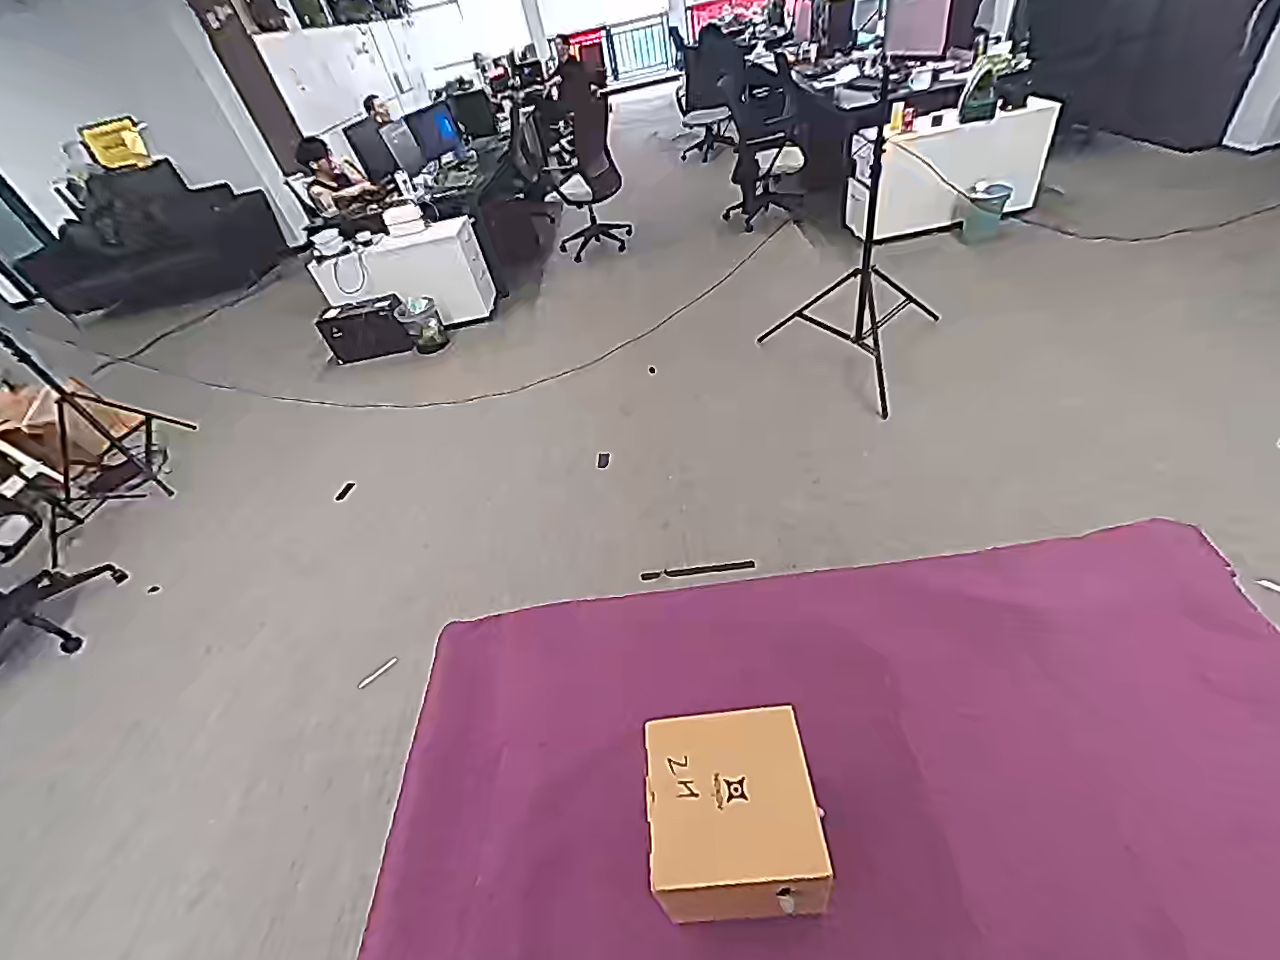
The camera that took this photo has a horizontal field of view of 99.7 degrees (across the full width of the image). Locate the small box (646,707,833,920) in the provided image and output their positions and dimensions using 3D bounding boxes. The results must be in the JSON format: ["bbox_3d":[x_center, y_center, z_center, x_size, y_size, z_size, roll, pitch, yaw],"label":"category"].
[{"bbox_3d":[0.108,0.385,0.623,0.179,0.176,0.168,-9,41,6],"label":"small box"}]
